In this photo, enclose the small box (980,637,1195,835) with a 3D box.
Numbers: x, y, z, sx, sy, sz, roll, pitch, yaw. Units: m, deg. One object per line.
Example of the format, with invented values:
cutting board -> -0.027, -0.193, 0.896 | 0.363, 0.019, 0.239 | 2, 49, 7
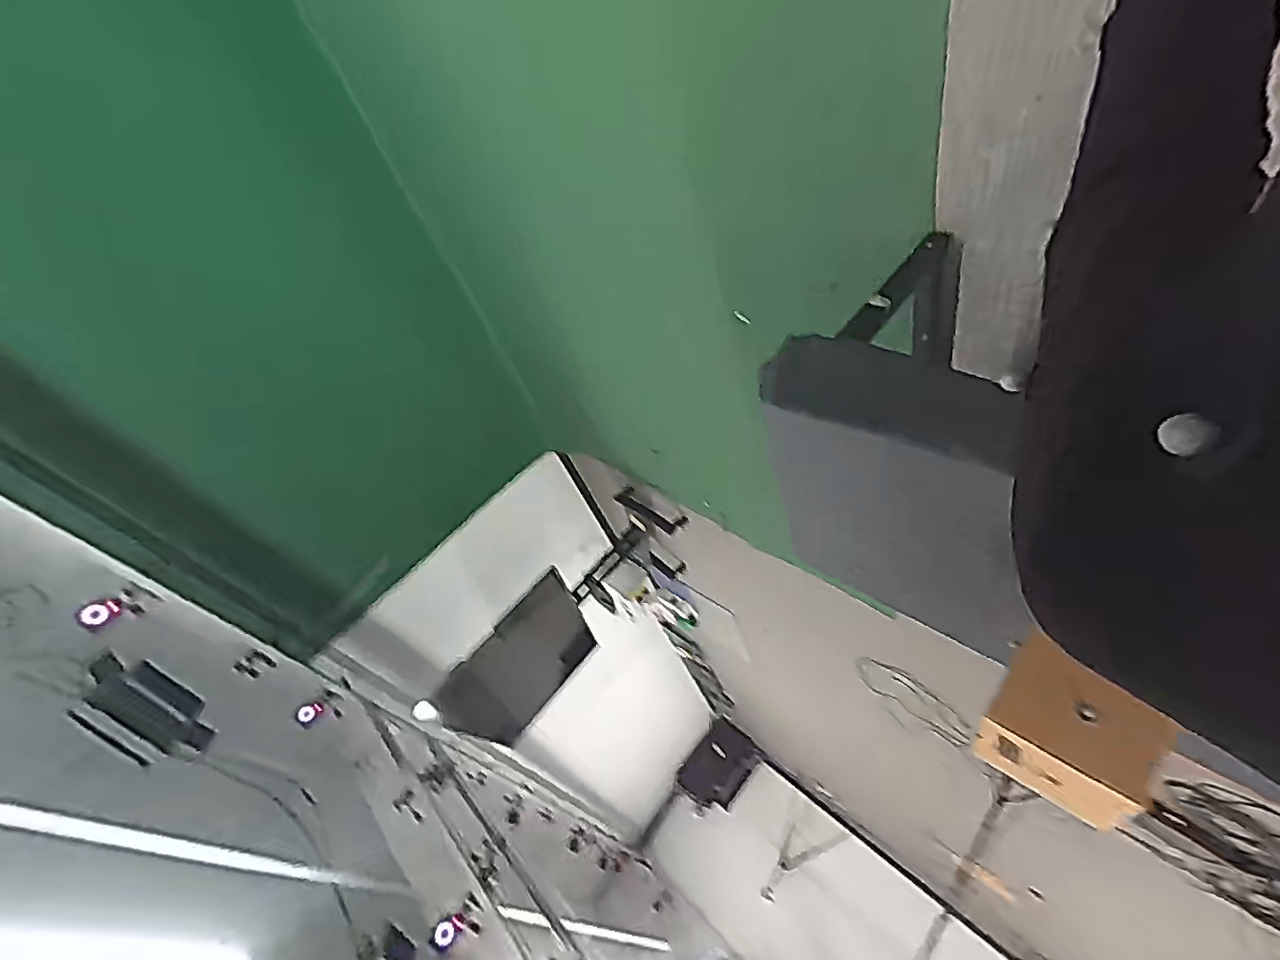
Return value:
small box -> 0.620, 0.349, 0.765 | 0.179, 0.176, 0.168 | 26, 154, 40
